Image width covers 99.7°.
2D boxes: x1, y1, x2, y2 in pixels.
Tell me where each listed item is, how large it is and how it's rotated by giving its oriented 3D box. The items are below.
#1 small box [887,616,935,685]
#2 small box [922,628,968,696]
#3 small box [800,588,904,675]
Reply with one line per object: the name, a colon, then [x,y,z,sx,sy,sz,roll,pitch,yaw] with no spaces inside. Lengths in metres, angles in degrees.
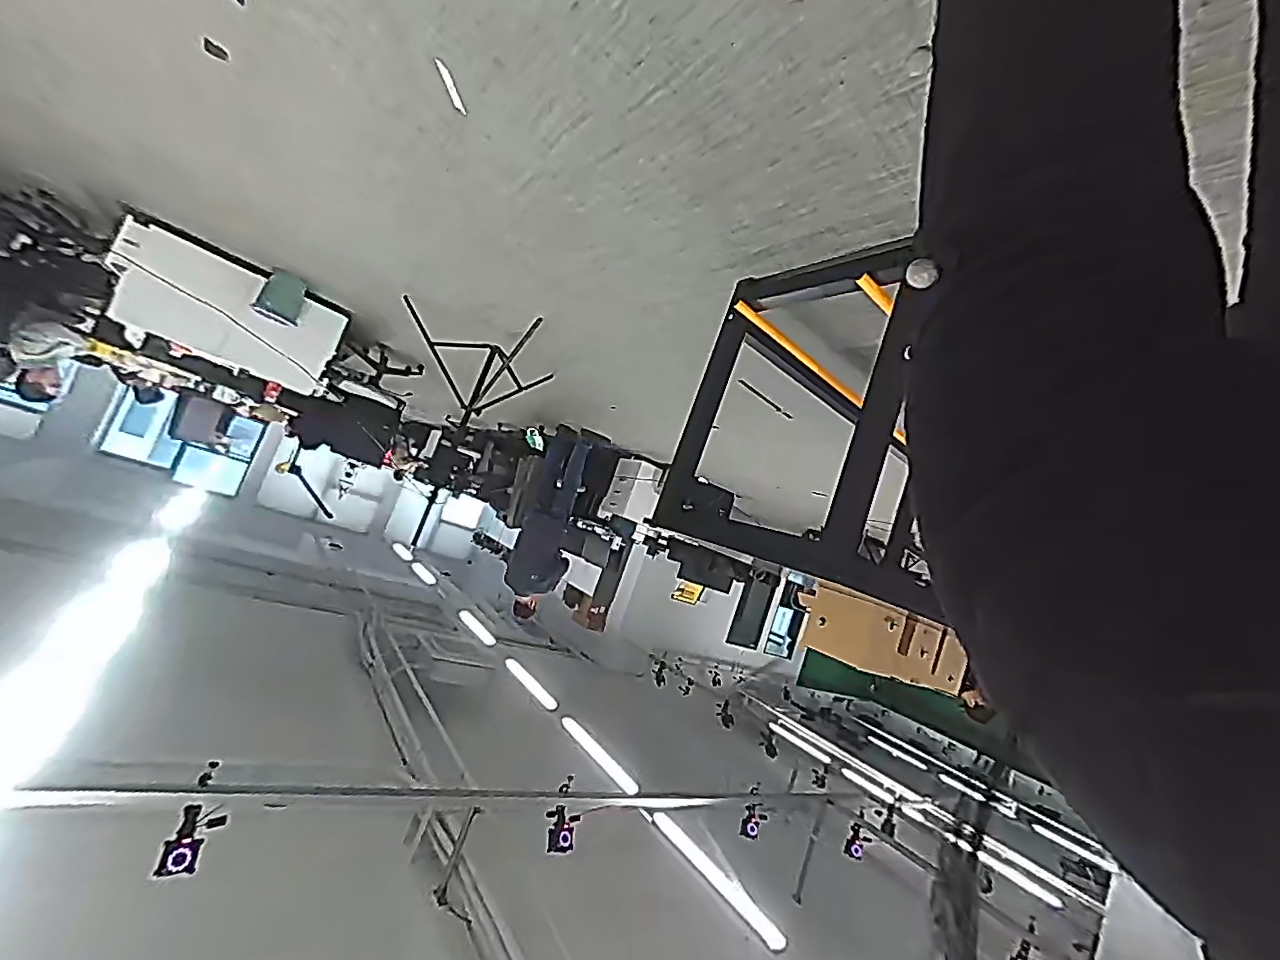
small box: [0.728,0.471,1.563,0.168,0.176,0.179,25,172,-35]
small box: [0.888,0.546,1.685,0.179,0.176,0.168,26,172,-33]
small box: [0.563,0.393,1.431,0.168,0.176,0.179,23,173,-36]
